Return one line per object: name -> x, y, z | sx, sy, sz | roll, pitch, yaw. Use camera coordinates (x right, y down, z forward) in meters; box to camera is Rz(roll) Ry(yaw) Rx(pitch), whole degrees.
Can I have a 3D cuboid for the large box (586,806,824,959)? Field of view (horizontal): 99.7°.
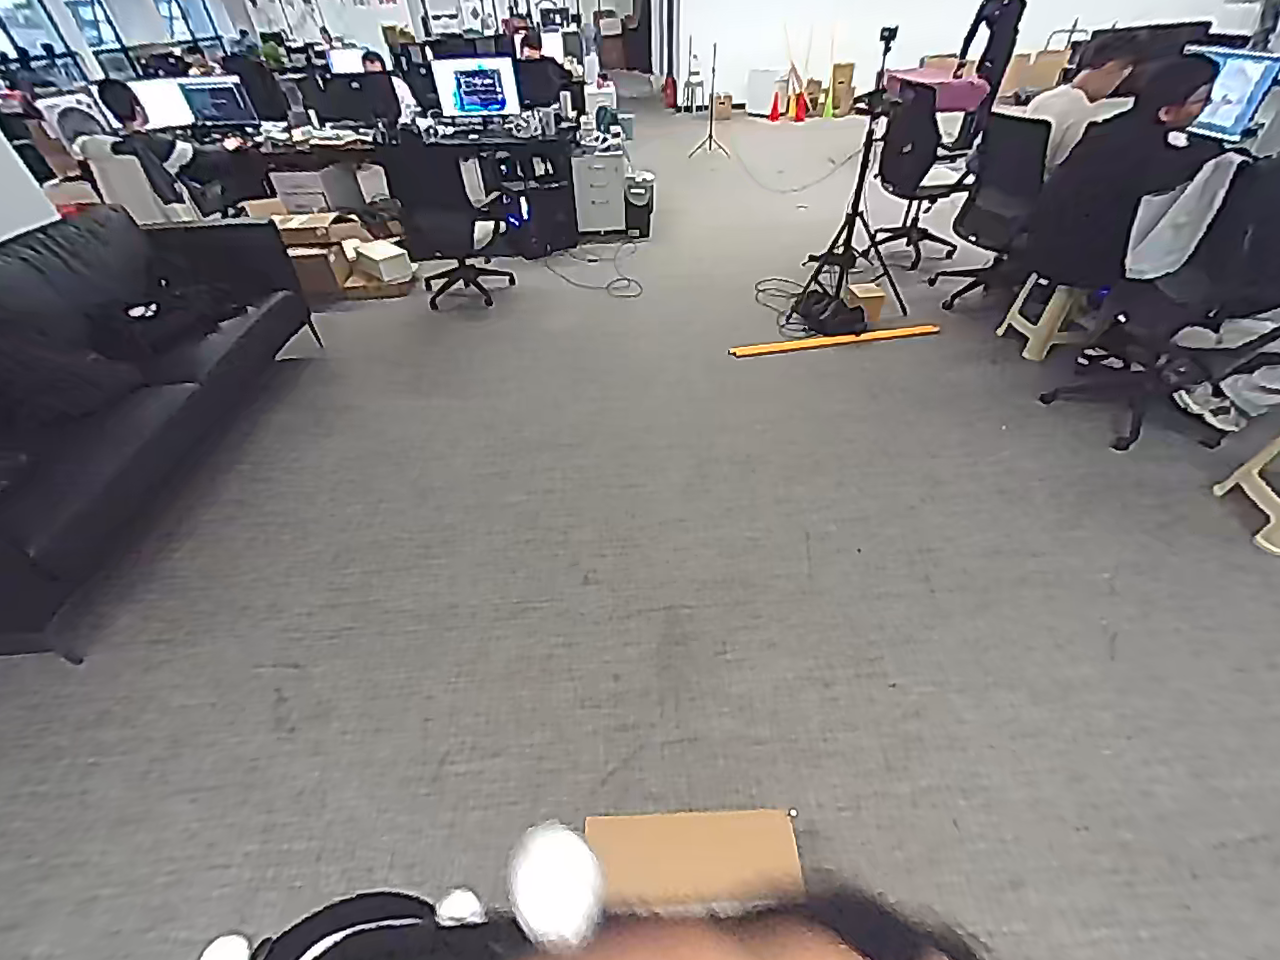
large box -> 0.110, 0.869, 1.051 | 0.408, 0.320, 0.320 | -3, 42, 0
